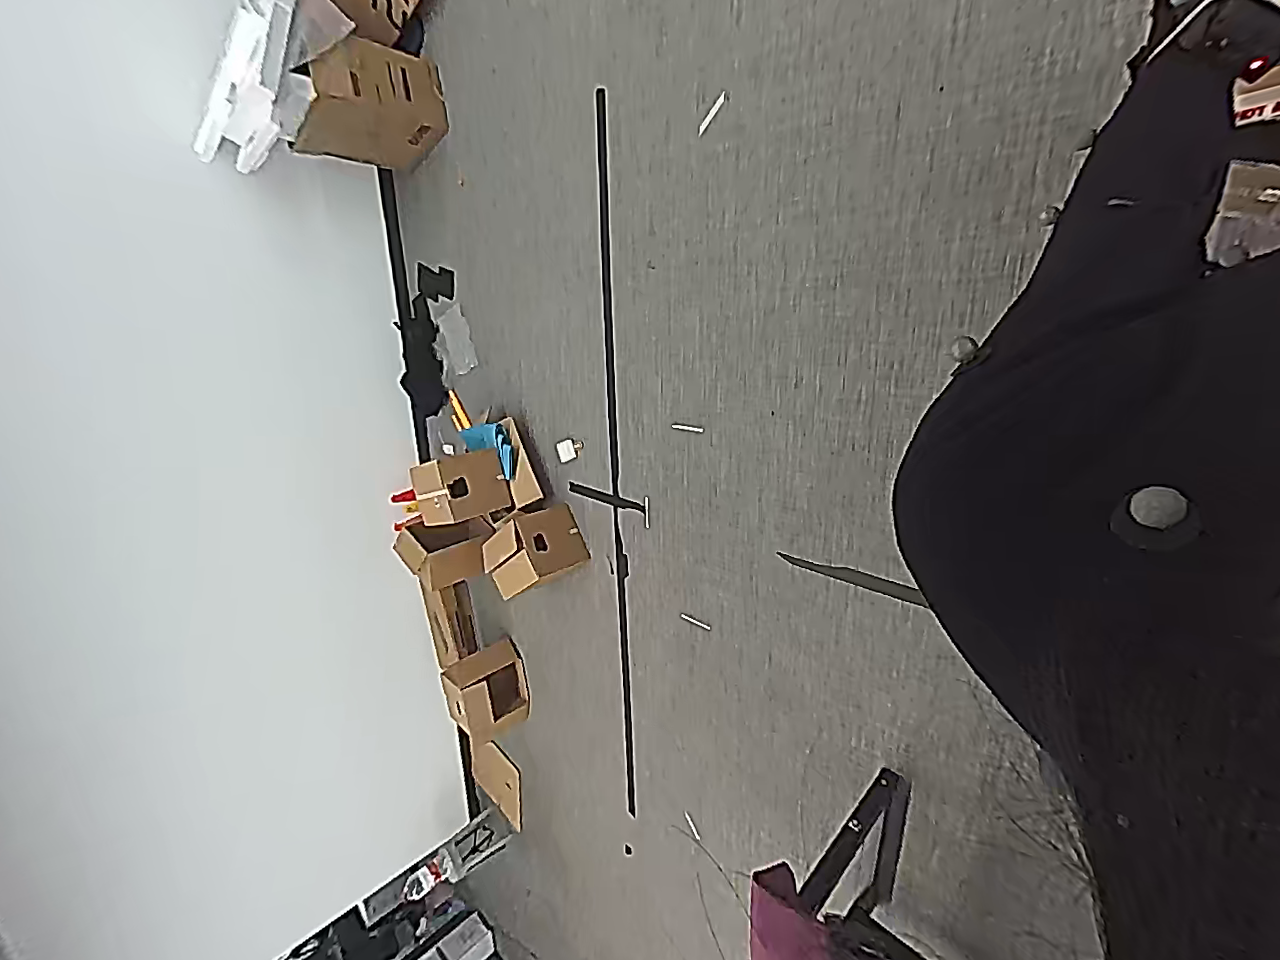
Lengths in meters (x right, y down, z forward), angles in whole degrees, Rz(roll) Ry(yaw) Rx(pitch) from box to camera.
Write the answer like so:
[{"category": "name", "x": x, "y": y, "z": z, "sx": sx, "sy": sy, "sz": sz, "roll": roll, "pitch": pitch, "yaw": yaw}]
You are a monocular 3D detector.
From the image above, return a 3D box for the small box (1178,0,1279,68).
[{"category": "small box", "x": 0.679, "y": -0.564, "z": 0.546, "sx": 0.179, "sy": 0.176, "sz": 0.168, "roll": 5, "pitch": 105, "yaw": 47}]
